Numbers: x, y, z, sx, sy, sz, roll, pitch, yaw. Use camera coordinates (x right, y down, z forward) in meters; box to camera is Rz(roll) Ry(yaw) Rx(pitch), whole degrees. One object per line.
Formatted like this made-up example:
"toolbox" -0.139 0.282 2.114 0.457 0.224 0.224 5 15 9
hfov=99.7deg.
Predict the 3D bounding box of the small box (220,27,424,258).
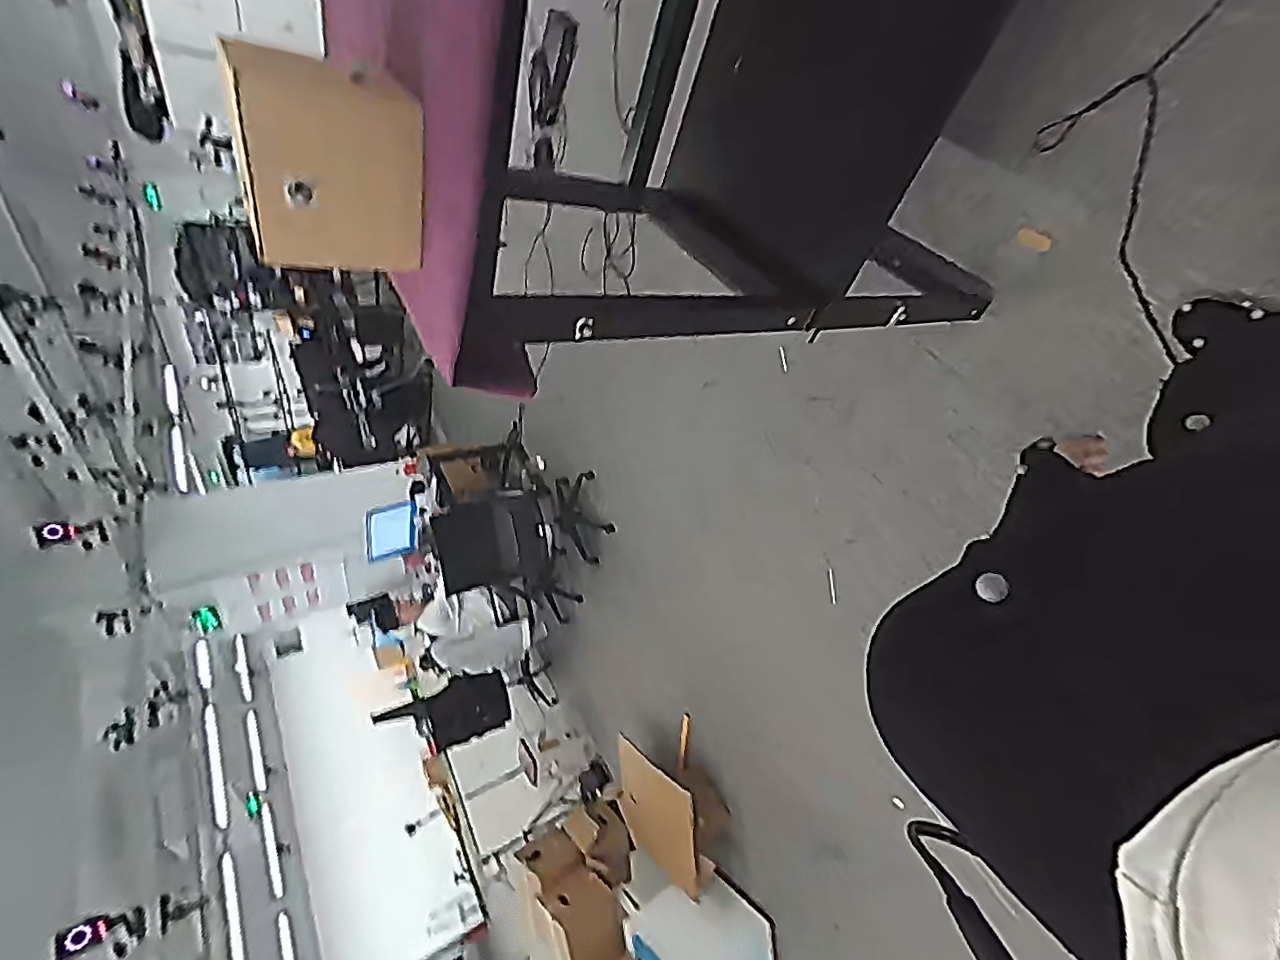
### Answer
"small box" -0.356 -0.372 0.619 0.168 0.176 0.179 52 137 33
